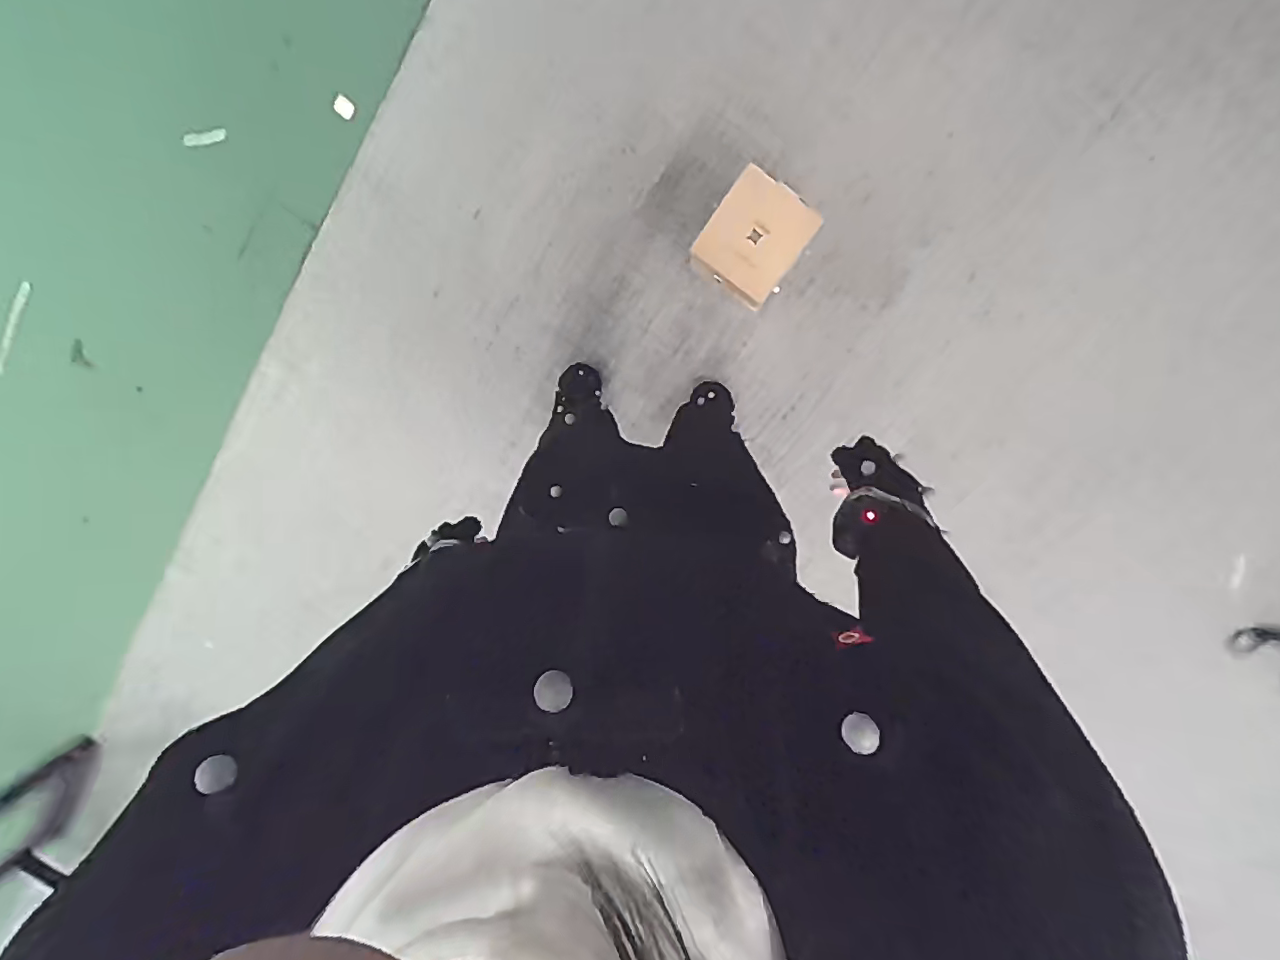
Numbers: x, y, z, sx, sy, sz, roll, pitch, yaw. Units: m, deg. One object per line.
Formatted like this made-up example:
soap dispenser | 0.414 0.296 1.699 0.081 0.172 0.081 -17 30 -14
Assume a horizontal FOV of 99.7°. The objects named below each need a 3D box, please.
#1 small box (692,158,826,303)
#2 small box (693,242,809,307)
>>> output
small box | 0.217 -0.455 1.017 0.168 0.176 0.179 38 109 -2
small box | 0.234 -0.493 1.175 0.179 0.176 0.168 39 107 -5
